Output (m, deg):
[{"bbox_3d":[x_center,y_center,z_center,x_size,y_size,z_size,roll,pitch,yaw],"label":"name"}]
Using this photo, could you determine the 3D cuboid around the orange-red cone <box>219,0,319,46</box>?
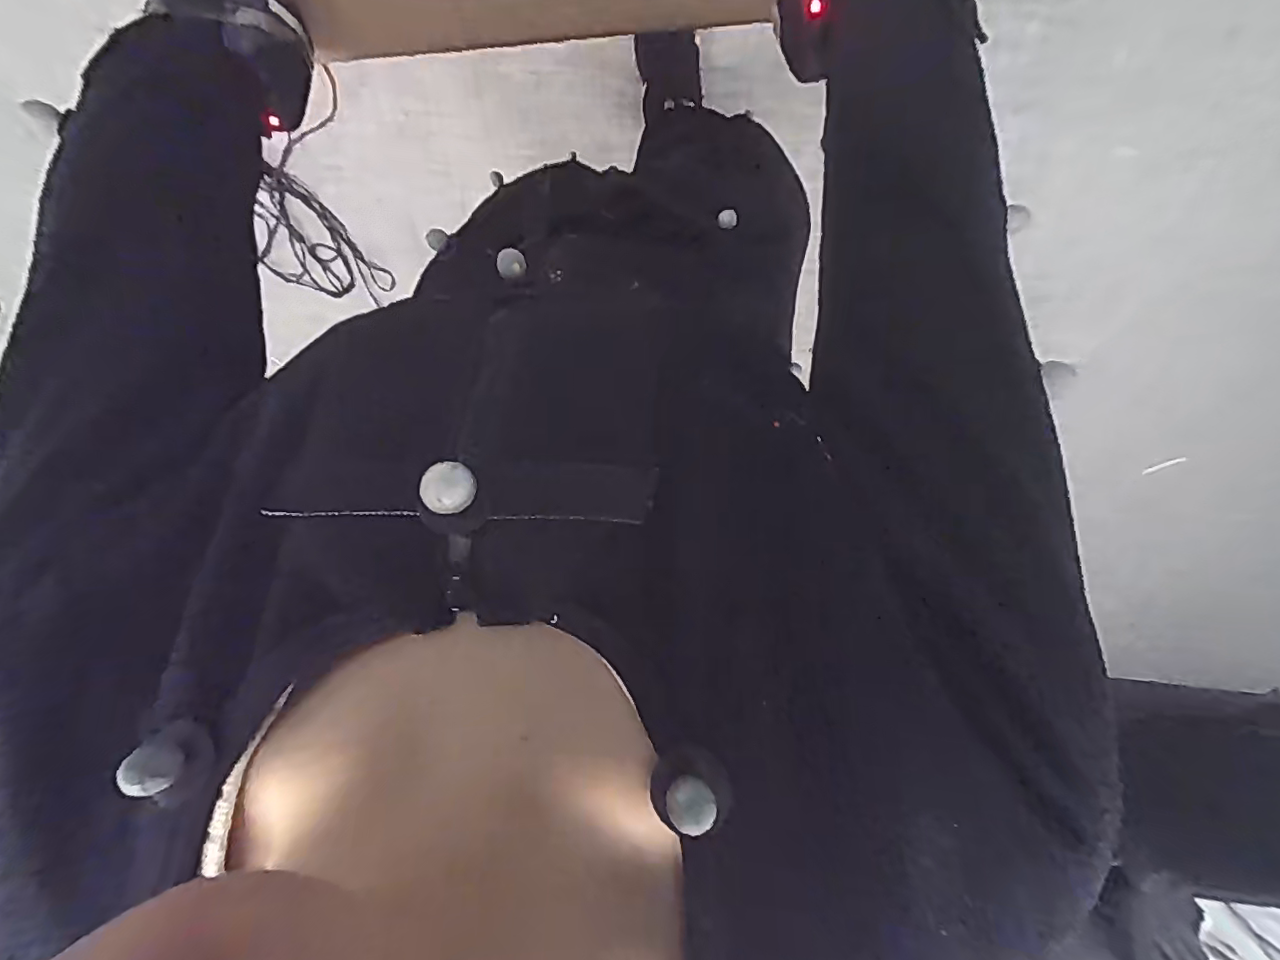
[{"bbox_3d":[-0.672,-0.792,0.801,0.199,0.360,0.198,22,129,-9],"label":"orange-red cone"}]
